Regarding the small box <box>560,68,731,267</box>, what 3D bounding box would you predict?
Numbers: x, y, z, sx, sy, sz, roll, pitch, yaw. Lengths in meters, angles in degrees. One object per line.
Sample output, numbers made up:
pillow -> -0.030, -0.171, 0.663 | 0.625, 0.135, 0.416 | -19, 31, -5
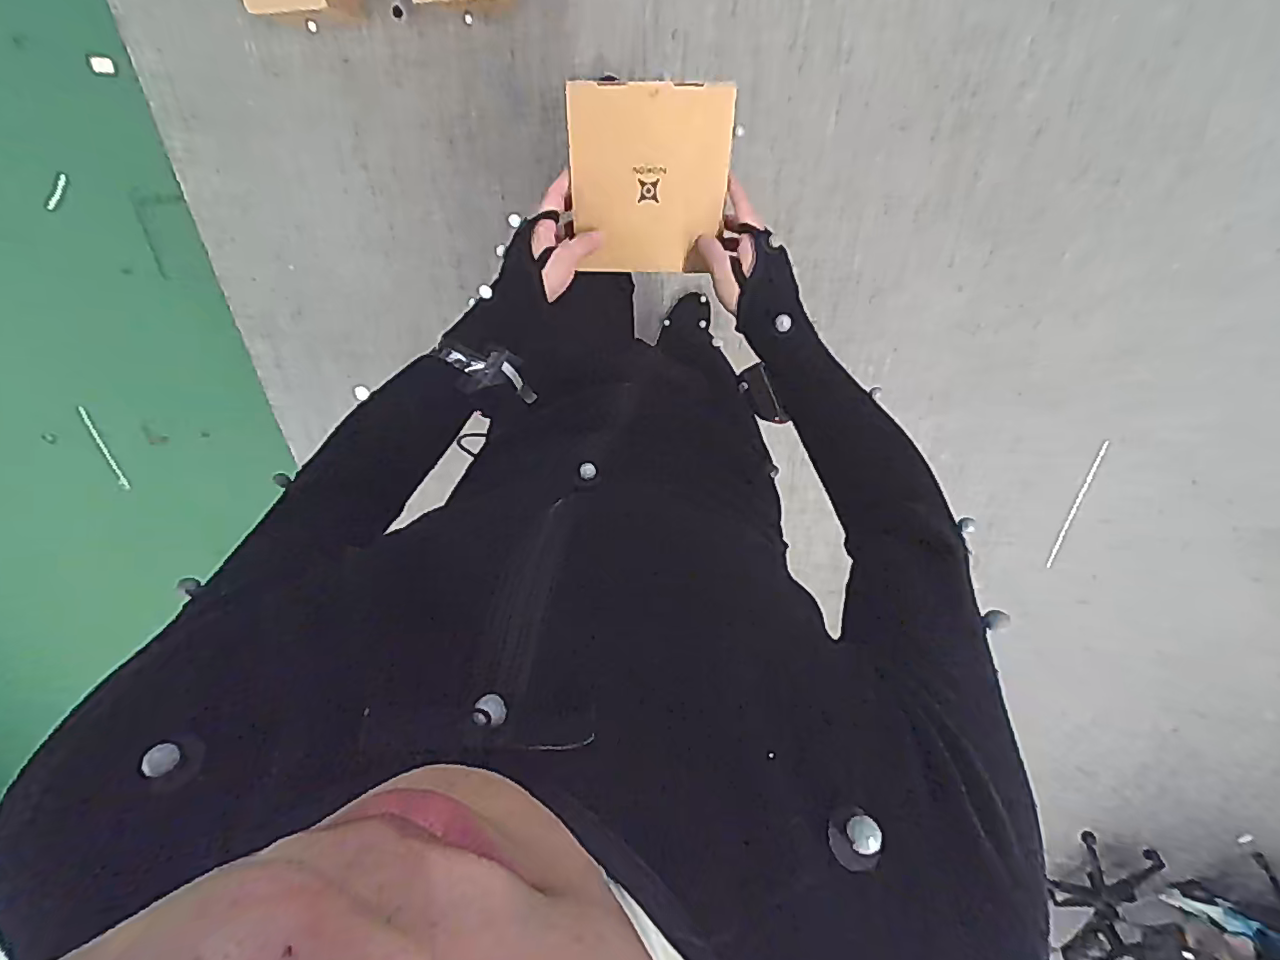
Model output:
small box -> 0.009, -0.356, 0.618 | 0.168, 0.176, 0.179 | 2, 124, 2

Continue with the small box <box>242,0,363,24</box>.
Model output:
small box -> -0.675, -1.014, 1.054 | 0.168, 0.176, 0.179 | 0, 122, 4

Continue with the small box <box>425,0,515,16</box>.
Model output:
small box -> -0.348, -1.017, 1.028 | 0.168, 0.176, 0.179 | 0, 123, 5
